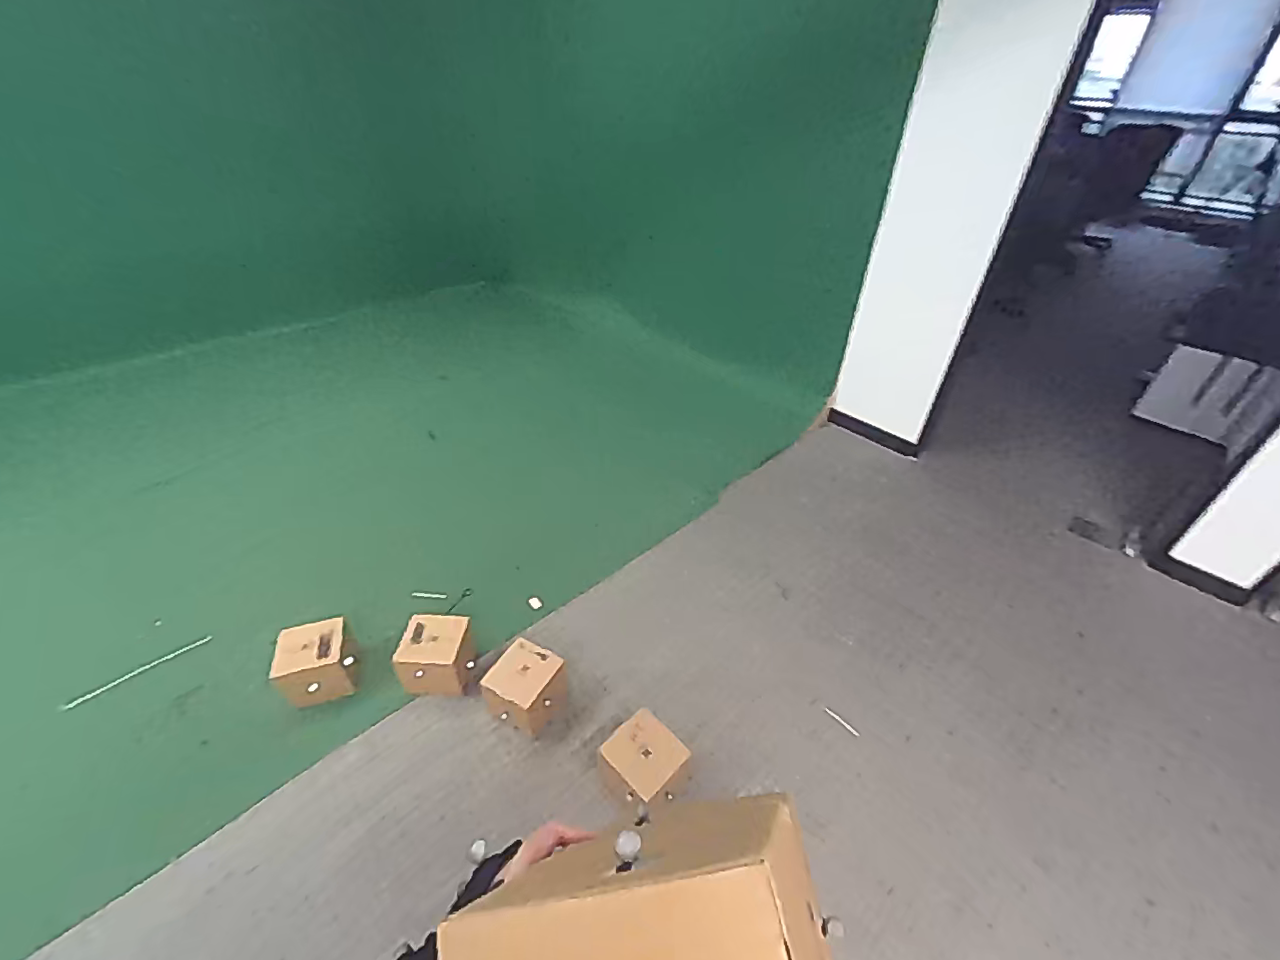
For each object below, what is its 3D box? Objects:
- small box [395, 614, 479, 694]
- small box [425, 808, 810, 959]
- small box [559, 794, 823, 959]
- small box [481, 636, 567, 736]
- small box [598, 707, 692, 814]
[{"bbox_3d":[-0.605,0.525,1.631,0.179,0.176,0.168,3,38,1],"label":"small box"},{"bbox_3d":[0.007,0.303,0.303,0.179,0.176,0.168,-17,64,9],"label":"small box"},{"bbox_3d":[0.050,0.370,0.444,0.179,0.176,0.168,-14,65,10],"label":"small box"},{"bbox_3d":[-0.324,0.594,1.552,0.168,0.176,0.179,20,42,22],"label":"small box"},{"bbox_3d":[0.010,0.732,1.386,0.168,0.176,0.179,-30,49,-34],"label":"small box"}]
